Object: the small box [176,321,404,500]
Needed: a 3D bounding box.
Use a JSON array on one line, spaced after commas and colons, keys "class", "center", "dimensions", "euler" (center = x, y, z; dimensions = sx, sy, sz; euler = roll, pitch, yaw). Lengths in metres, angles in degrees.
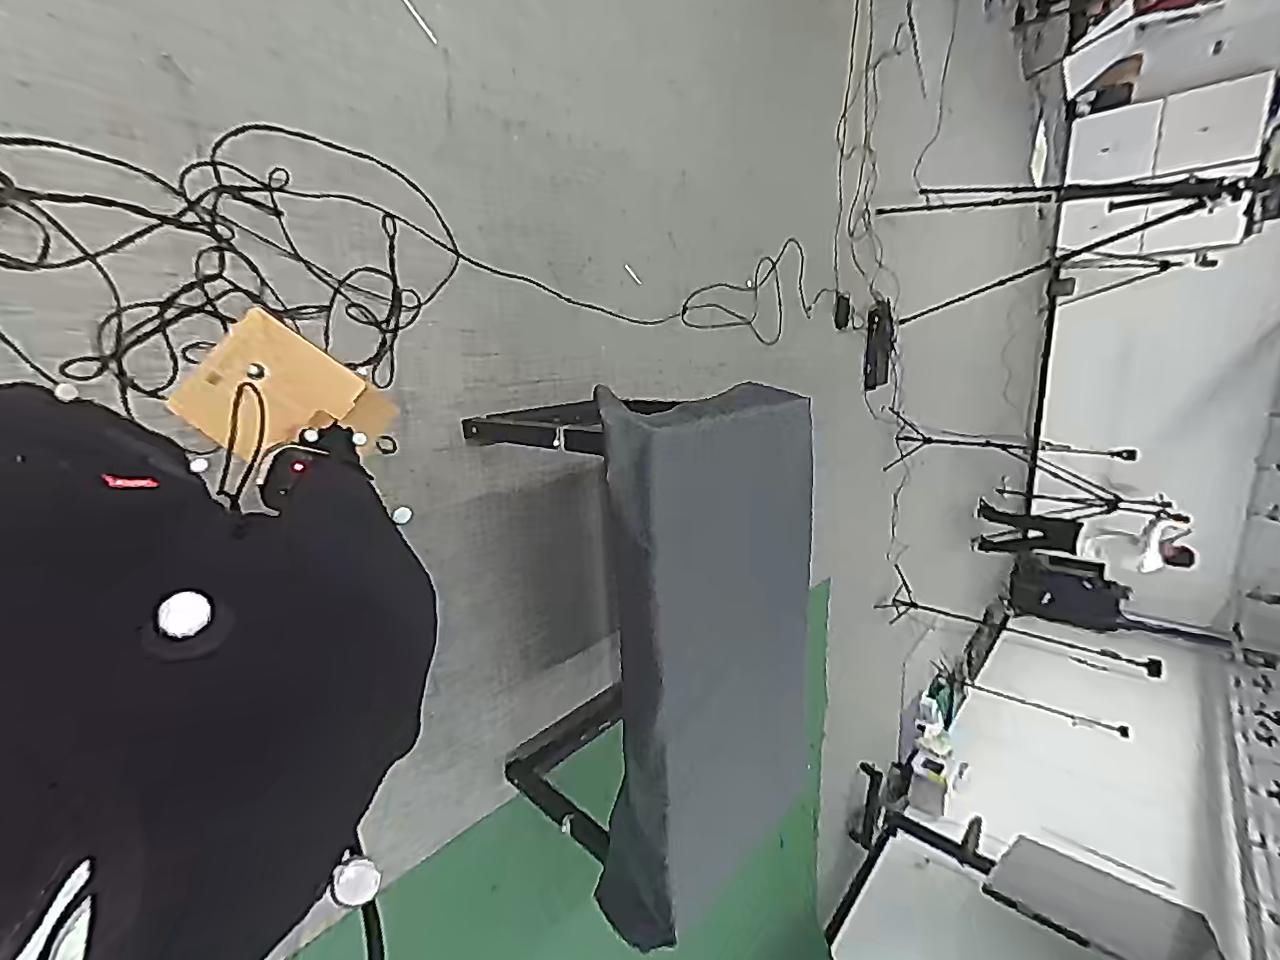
[{"class": "small box", "center": [-0.473, -0.091, 0.758], "dimensions": [0.176, 0.179, 0.168], "euler": [36, 79, -3]}]
